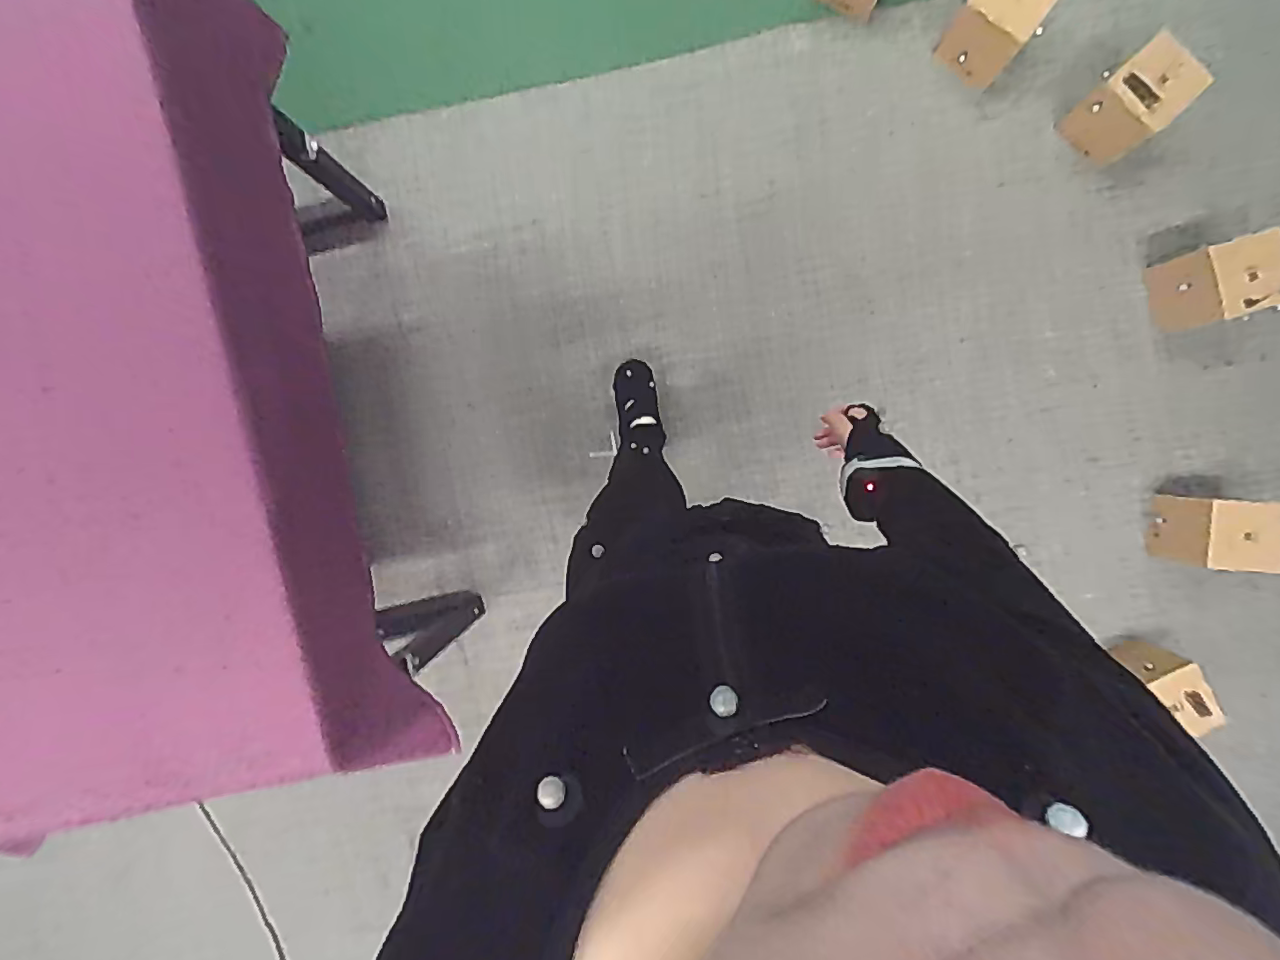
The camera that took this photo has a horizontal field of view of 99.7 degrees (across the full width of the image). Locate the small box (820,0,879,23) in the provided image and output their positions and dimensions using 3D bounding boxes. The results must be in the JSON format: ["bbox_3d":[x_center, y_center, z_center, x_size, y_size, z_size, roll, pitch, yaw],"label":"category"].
[{"bbox_3d":[0.544,-1.281,1.315,0.168,0.176,0.179,27,93,1],"label":"small box"}]

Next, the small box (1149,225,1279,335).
[{"bbox_3d":[1.391,-0.473,1.302,0.168,0.176,0.179,-17,90,4],"label":"small box"}]

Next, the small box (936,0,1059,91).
[{"bbox_3d":[0.863,-1.107,1.308,0.168,0.176,0.179,36,94,1],"label":"small box"}]

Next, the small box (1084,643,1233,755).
[{"bbox_3d":[1.280,0.535,1.347,0.179,0.176,0.168,-29,90,4],"label":"small box"}]

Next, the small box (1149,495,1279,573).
[{"bbox_3d":[1.420,0.126,1.325,0.179,0.176,0.168,3,92,3],"label":"small box"}]
